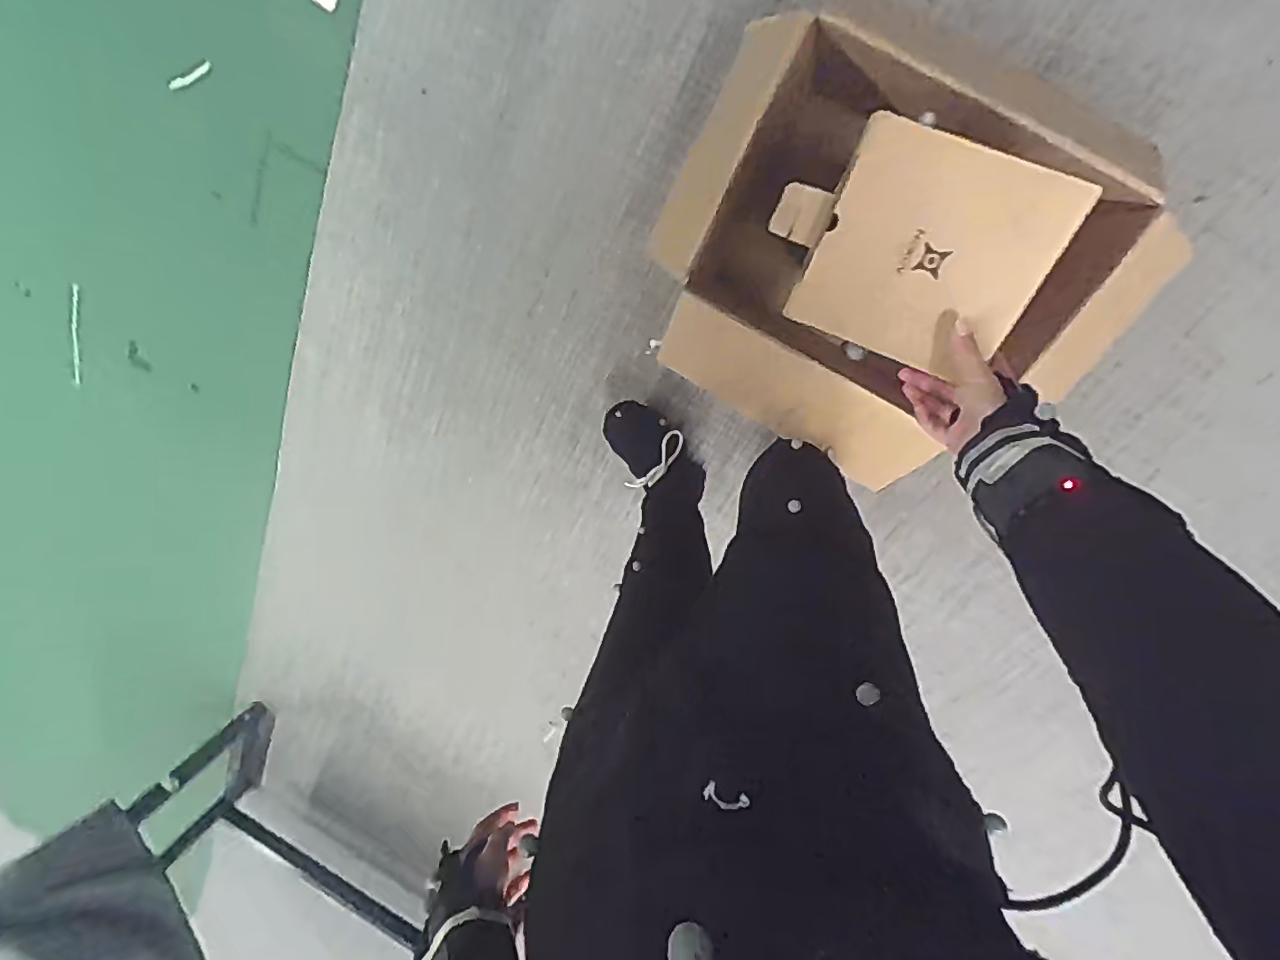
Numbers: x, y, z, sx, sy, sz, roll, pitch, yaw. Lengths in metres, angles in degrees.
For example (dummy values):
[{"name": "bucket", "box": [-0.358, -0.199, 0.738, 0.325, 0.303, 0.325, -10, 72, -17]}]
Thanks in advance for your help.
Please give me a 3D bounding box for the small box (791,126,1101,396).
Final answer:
[{"name": "small box", "box": [0.265, -0.204, 0.518, 0.179, 0.176, 0.168, 26, 117, 8]}]
